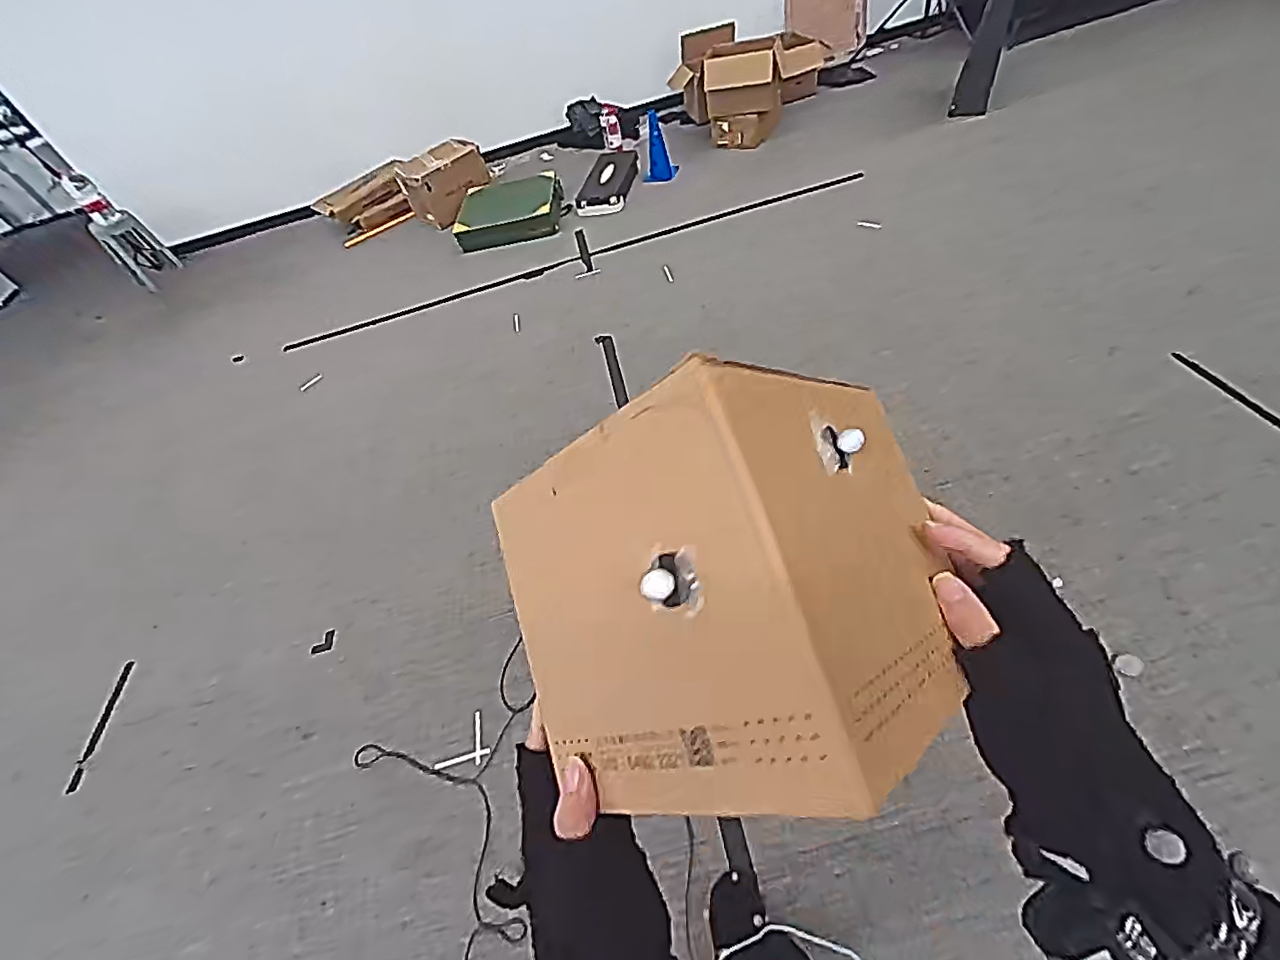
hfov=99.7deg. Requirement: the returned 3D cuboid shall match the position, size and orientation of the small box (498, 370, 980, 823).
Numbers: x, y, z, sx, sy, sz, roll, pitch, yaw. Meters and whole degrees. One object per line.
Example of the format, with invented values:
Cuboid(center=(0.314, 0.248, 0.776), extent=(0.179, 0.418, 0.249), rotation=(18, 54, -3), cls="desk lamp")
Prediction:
Cuboid(center=(0.054, 0.063, 0.298), extent=(0.168, 0.179, 0.176), rotation=(-30, 71, 40), cls="small box")
